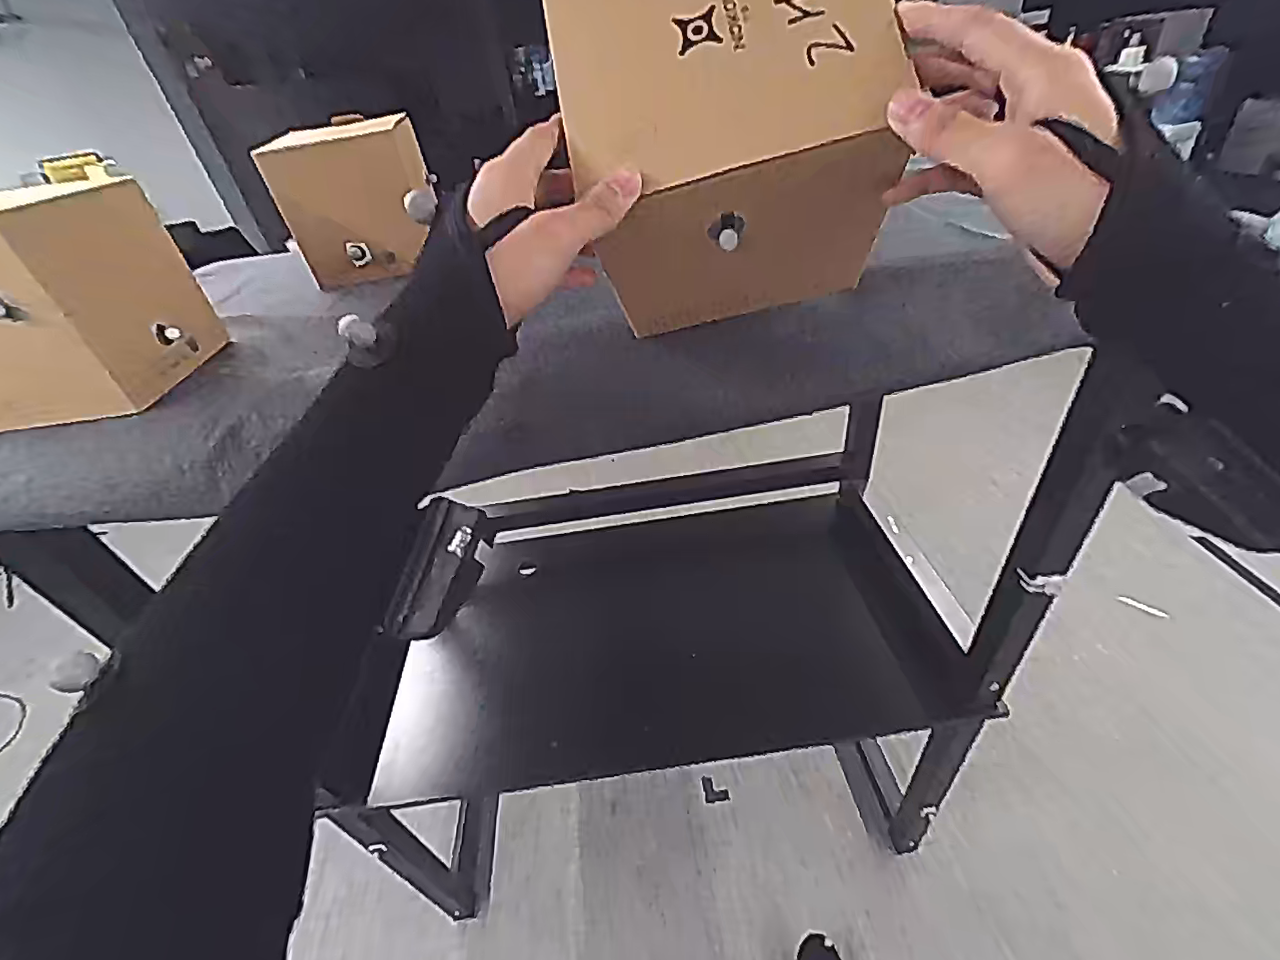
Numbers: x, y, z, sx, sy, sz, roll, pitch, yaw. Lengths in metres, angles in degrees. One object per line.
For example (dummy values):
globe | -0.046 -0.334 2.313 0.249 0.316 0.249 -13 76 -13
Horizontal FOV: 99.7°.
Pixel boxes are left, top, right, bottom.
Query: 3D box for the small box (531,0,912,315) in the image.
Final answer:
small box | 0.046 -0.230 0.353 0.179 0.176 0.168 -11 80 9

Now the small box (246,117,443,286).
small box | -0.384 -0.383 0.744 0.168 0.176 0.179 -14 38 -5
